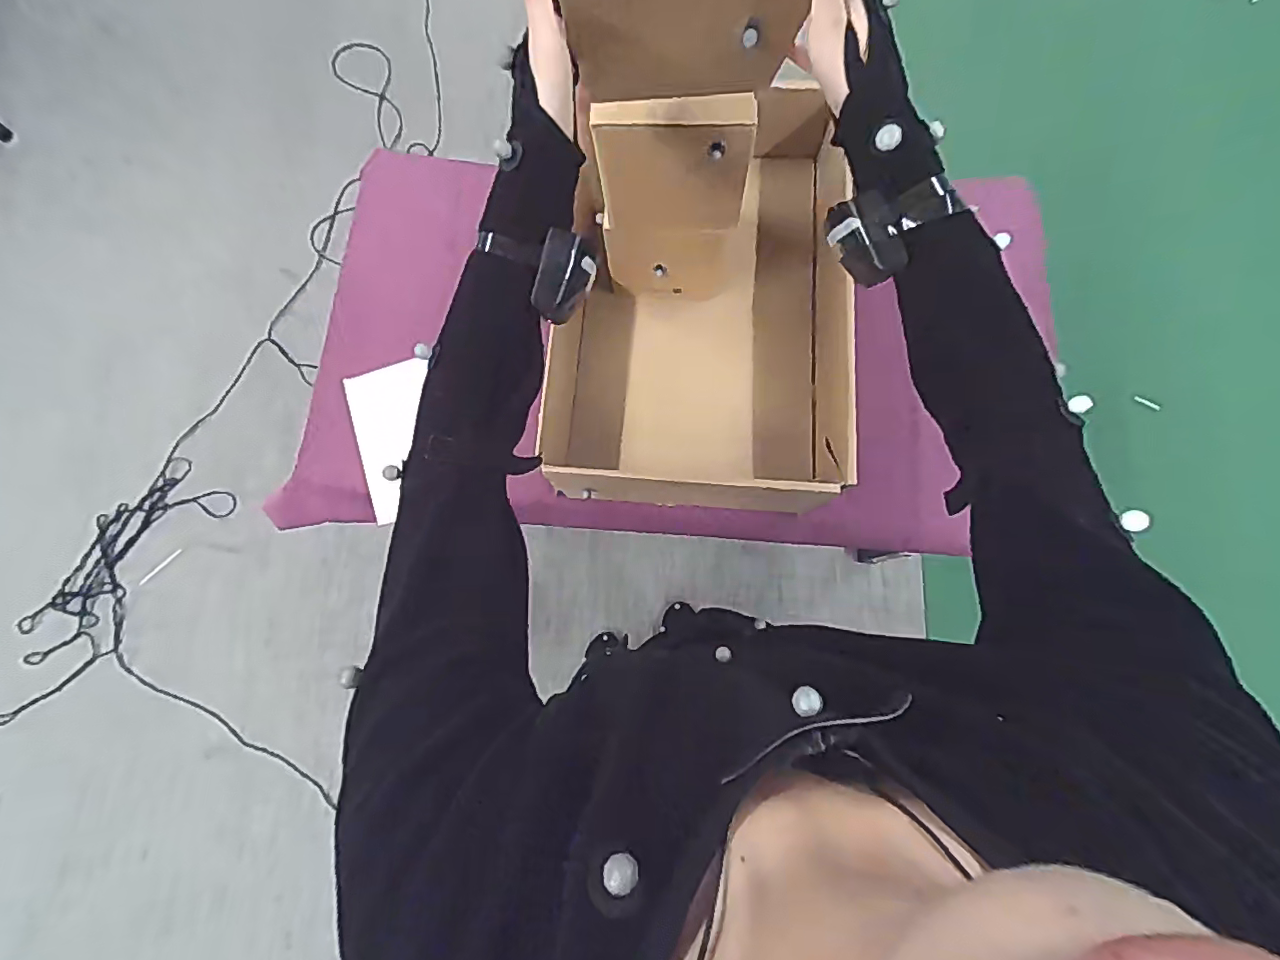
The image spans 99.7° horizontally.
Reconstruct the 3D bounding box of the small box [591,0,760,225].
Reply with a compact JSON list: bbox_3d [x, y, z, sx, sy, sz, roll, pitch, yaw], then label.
[{"bbox_3d":[0.044,-0.429,0.648,0.179,0.176,0.168,2,78,3],"label":"small box"}]

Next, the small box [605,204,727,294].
[{"bbox_3d":[0.047,-0.399,0.807,0.168,0.176,0.179,4,79,4],"label":"small box"}]
